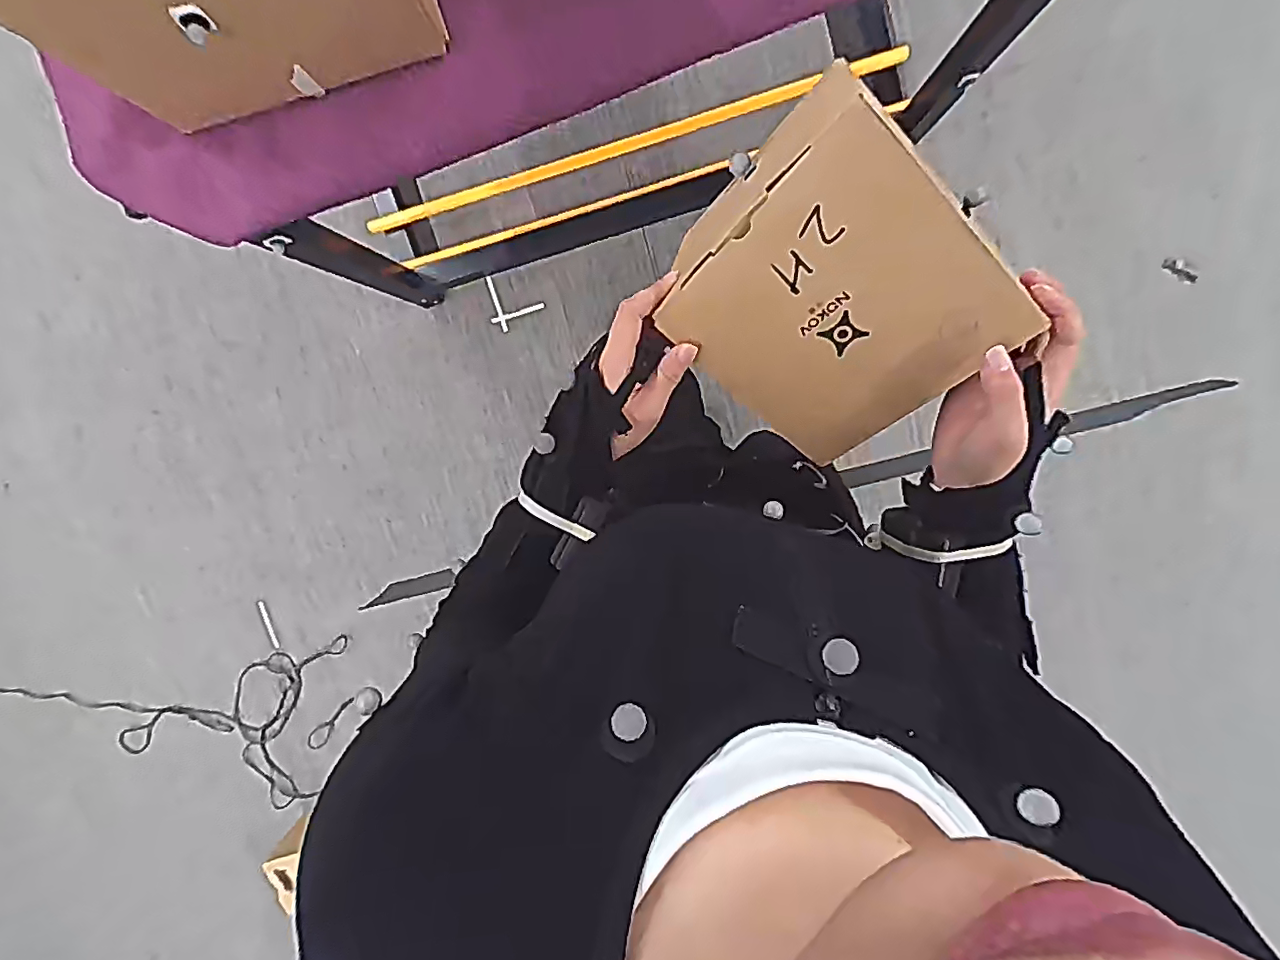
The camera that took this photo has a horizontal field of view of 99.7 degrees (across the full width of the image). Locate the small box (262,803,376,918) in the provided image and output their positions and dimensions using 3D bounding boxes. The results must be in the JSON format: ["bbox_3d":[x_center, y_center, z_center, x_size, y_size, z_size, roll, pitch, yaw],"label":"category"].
[{"bbox_3d":[-0.862,1.025,1.468,0.179,0.176,0.168,-20,98,5],"label":"small box"}]
